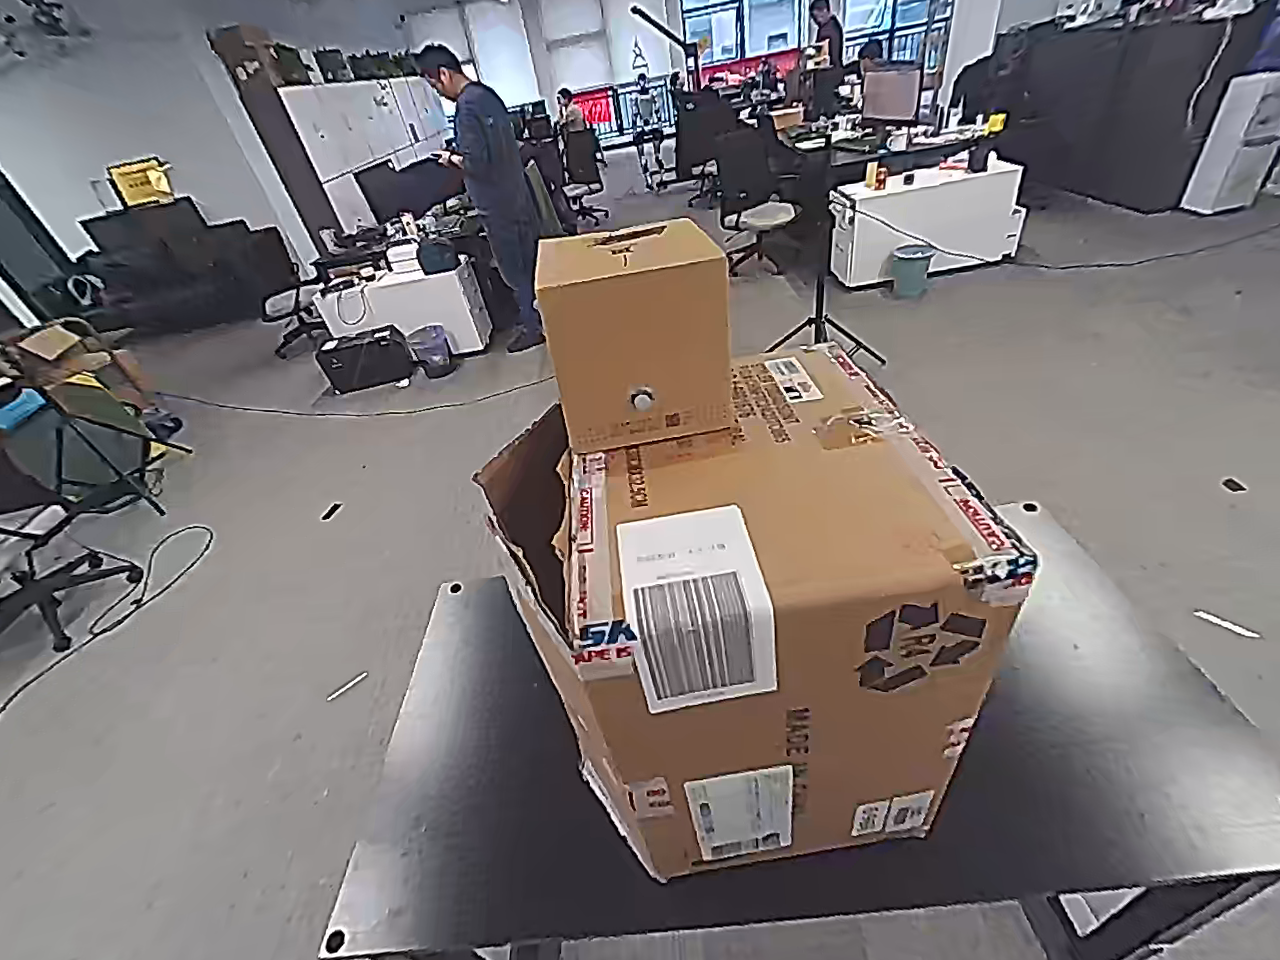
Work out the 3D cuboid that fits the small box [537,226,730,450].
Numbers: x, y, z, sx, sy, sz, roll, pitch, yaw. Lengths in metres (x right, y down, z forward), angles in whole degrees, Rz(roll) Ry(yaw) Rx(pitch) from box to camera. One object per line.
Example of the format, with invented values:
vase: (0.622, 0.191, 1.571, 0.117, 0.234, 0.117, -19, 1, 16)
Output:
small box: (-0.006, -0.152, 0.571, 0.168, 0.176, 0.179, -10, 36, -1)
